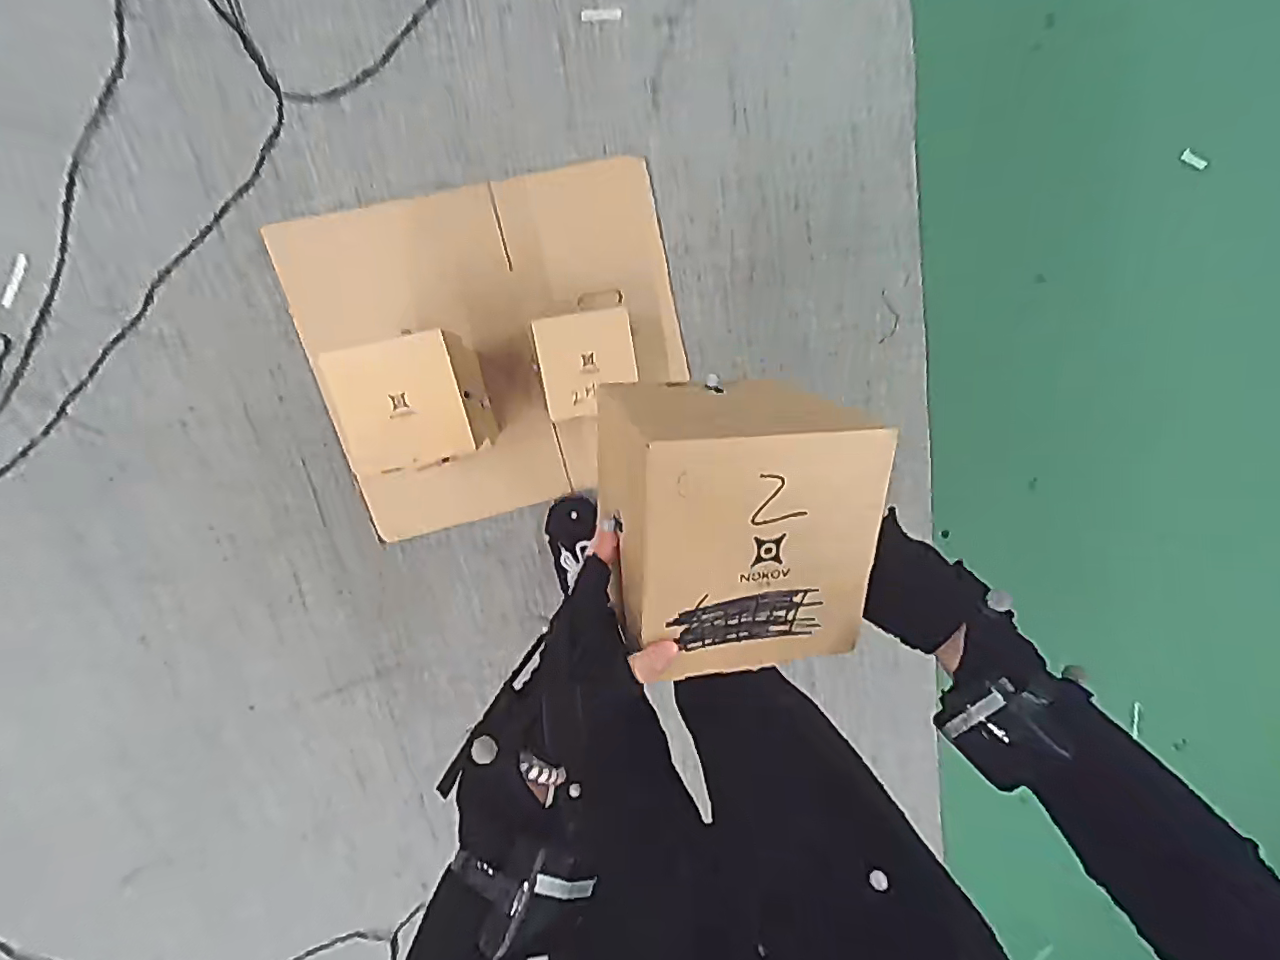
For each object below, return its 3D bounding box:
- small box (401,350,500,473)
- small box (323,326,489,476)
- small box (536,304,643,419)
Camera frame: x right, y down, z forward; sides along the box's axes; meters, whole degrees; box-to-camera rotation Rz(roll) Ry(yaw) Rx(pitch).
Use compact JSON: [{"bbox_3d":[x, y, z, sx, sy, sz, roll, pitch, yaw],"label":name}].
[{"bbox_3d":[-0.361,-0.133,0.976,0.168,0.176,0.179,-17,106,-6],"label":"small box"},{"bbox_3d":[-0.335,-0.122,0.813,0.168,0.176,0.179,-15,105,-7],"label":"small box"},{"bbox_3d":[-0.097,-0.220,1.004,0.168,0.176,0.179,-10,106,-6],"label":"small box"}]
